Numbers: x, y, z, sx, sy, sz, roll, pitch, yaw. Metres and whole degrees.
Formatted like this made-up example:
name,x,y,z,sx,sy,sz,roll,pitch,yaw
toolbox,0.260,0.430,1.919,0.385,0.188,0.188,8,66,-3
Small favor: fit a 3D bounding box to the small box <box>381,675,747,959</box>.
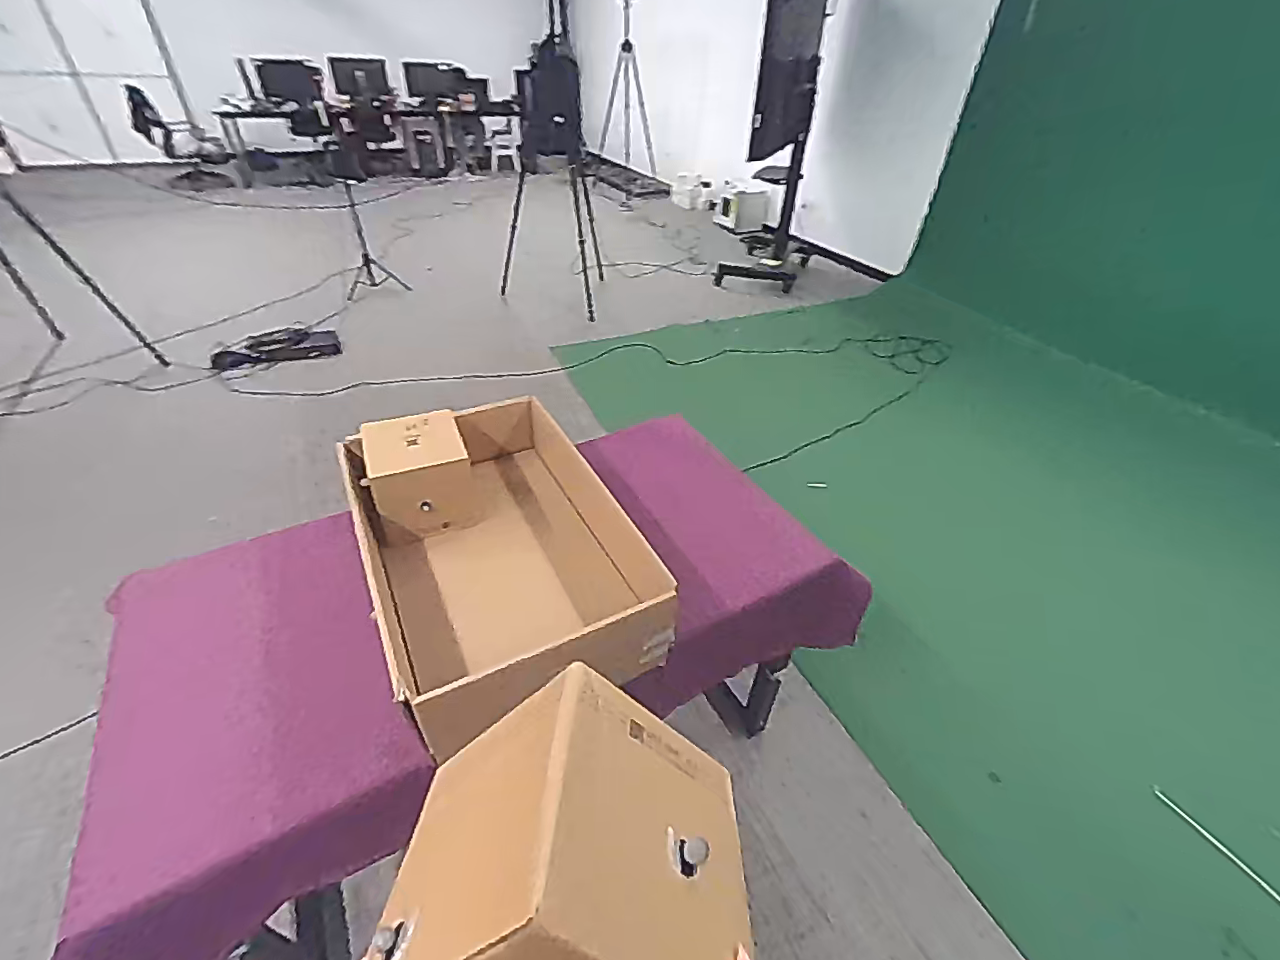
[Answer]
name,x,y,z,sx,sy,sz,roll,pitch,yaw
small box,-0.051,0.274,0.377,0.168,0.179,0.176,41,21,-16
